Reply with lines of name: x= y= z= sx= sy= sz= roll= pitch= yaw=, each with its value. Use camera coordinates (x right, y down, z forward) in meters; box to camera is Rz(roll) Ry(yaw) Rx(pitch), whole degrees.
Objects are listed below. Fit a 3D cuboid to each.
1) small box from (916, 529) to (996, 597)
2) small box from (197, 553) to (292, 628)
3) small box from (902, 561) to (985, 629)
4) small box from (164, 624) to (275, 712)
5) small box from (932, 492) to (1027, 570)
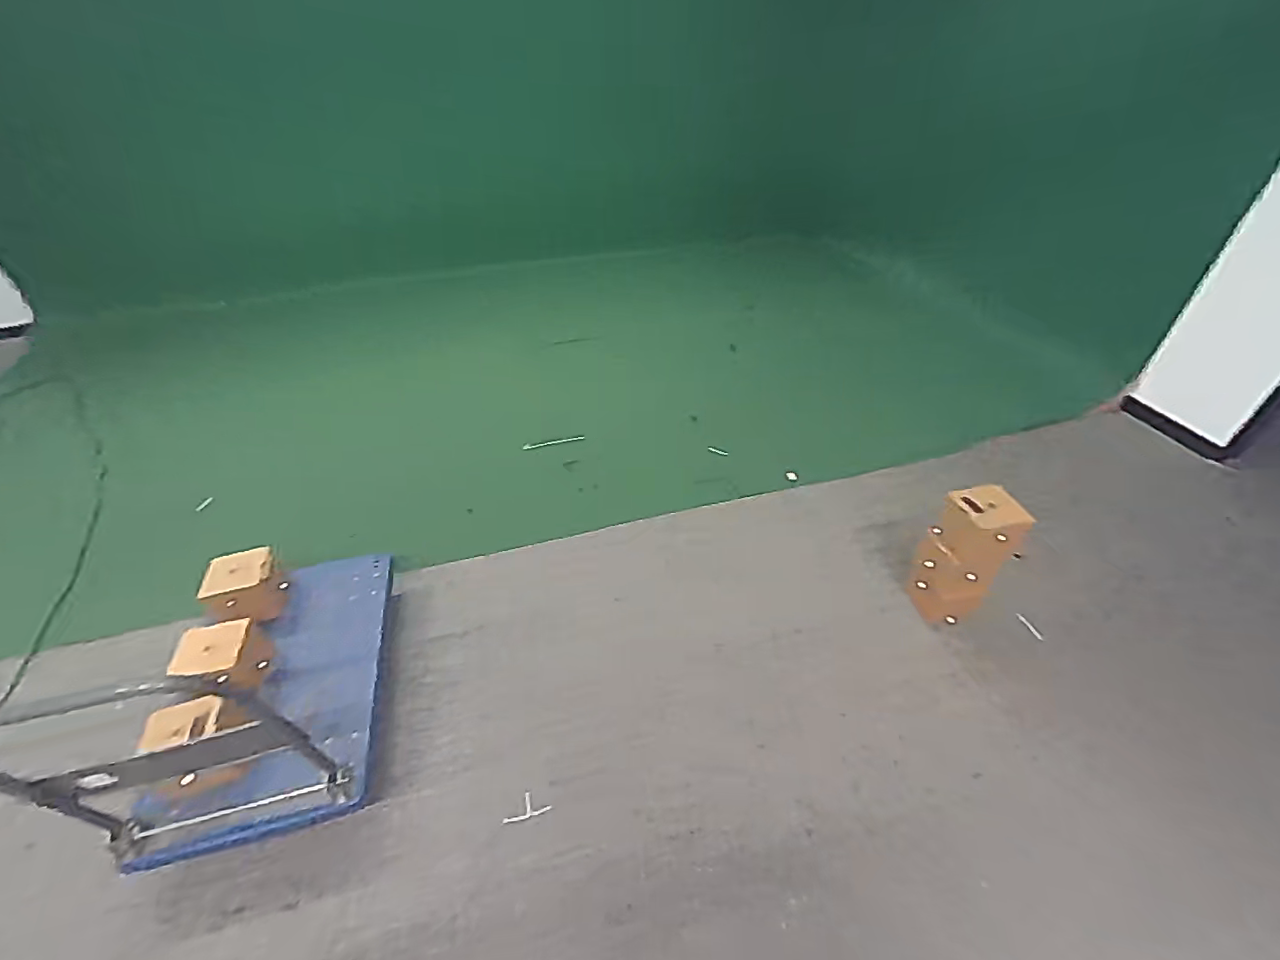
small box: x=1.044 y=0.269 z=1.794 sx=0.179 sy=0.176 sz=0.168 roll=-10 pitch=42 yaw=-5
small box: x=-1.289 y=0.370 z=1.776 sx=0.179 sy=0.176 sz=0.168 roll=-11 pitch=44 yaw=-10
small box: x=1.056 y=0.394 z=1.899 sx=0.168 sy=0.176 sz=0.179 roll=-9 pitch=42 yaw=-5
small box: x=-1.214 y=0.551 z=1.575 sx=0.179 sy=0.176 sz=0.168 roll=-10 pitch=42 yaw=-10
small box: x=1.047 y=0.163 z=1.690 sx=0.179 sy=0.176 sz=0.168 roll=-9 pitch=42 yaw=-7
